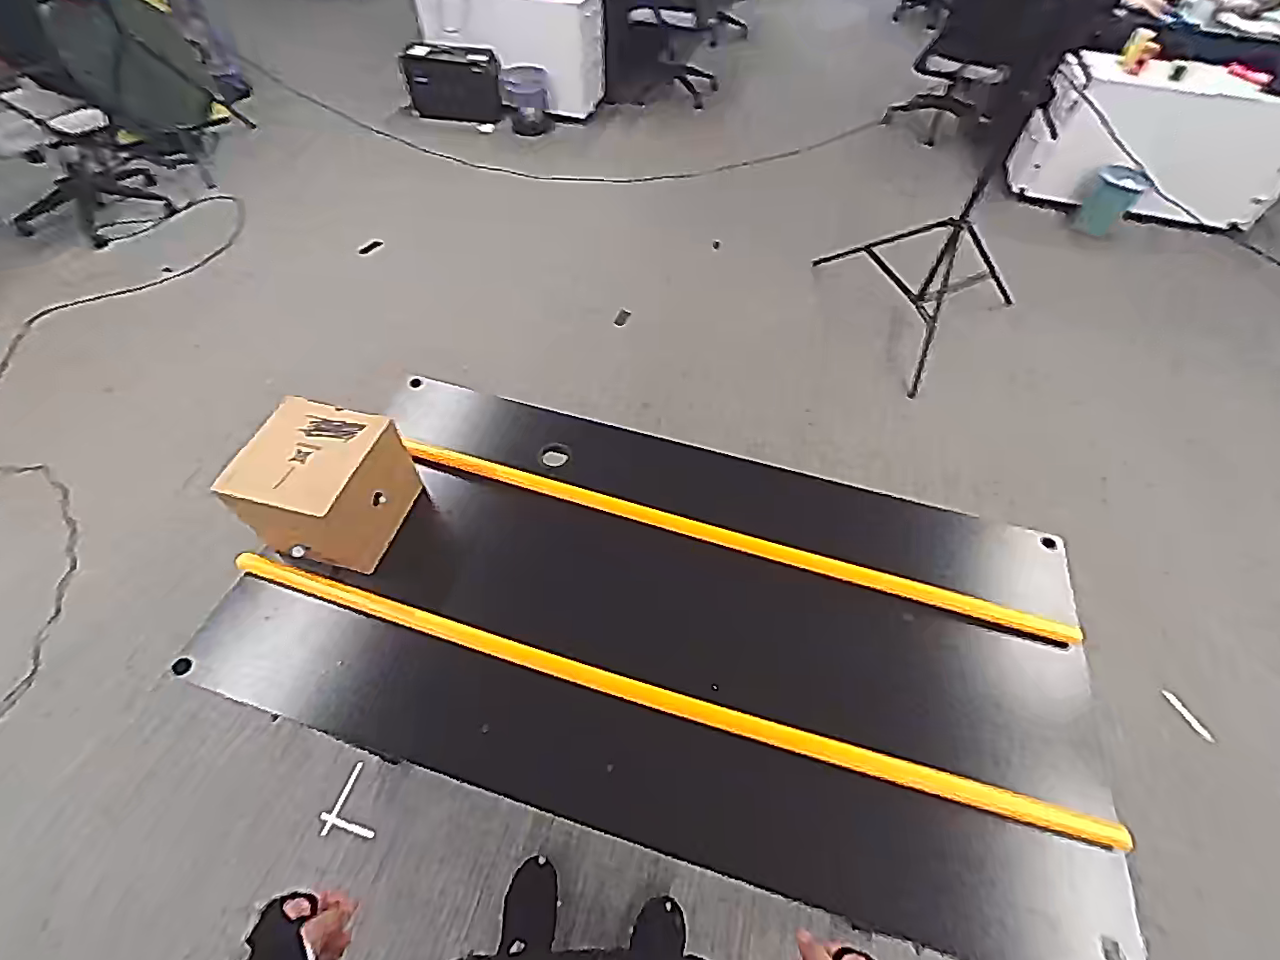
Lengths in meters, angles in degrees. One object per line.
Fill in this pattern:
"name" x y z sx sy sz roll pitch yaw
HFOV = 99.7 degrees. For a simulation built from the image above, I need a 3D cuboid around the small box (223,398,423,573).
"small box" -0.448 0.011 0.806 0.168 0.176 0.179 13 55 7
